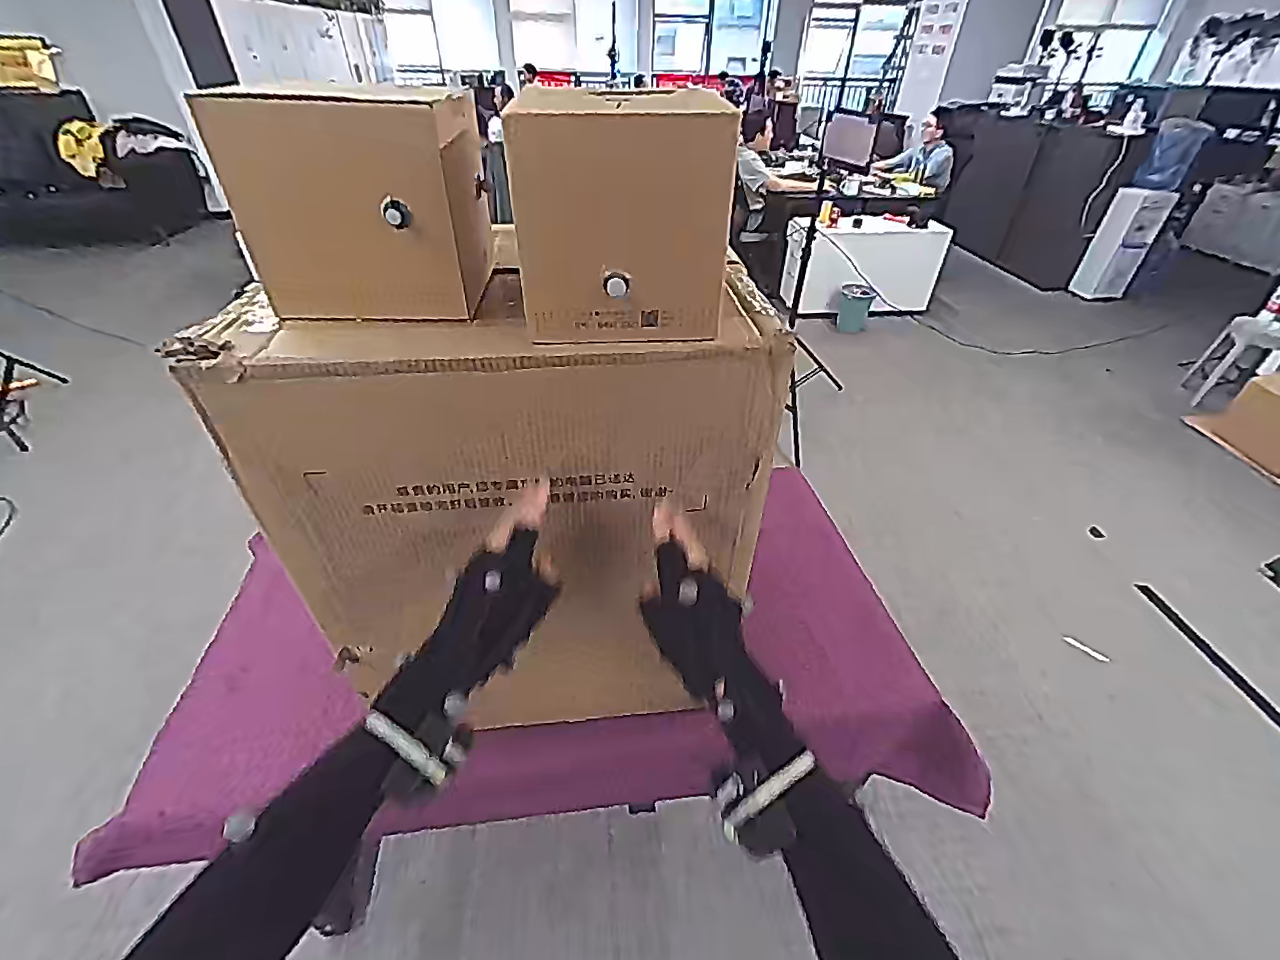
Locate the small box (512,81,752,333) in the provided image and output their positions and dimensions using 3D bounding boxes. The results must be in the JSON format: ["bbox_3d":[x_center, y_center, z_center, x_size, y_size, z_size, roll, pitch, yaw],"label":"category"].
[{"bbox_3d":[-0.010,-0.242,0.477,0.168,0.176,0.179,-2,39,-3],"label":"small box"}]

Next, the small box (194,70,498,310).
[{"bbox_3d":[-0.234,-0.264,0.495,0.179,0.176,0.168,-1,38,-4],"label":"small box"}]
